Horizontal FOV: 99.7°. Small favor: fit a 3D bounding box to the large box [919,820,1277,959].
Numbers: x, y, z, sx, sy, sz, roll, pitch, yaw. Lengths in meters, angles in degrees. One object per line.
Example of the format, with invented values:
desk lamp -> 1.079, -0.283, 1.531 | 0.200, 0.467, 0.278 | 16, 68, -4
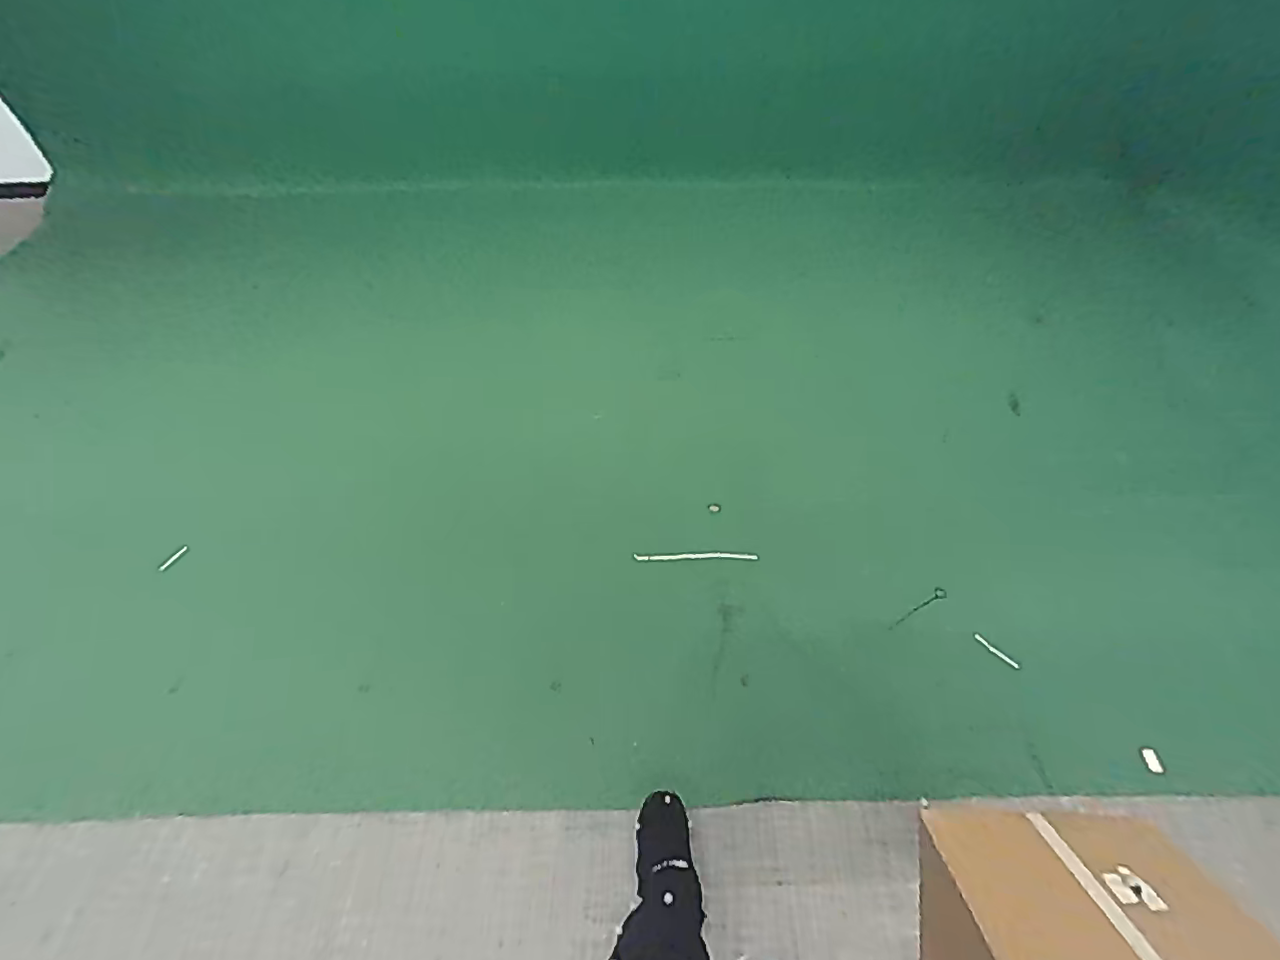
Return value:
large box -> 0.559, 0.683, 0.622 | 0.320, 0.408, 0.320 | -1, 95, 9
